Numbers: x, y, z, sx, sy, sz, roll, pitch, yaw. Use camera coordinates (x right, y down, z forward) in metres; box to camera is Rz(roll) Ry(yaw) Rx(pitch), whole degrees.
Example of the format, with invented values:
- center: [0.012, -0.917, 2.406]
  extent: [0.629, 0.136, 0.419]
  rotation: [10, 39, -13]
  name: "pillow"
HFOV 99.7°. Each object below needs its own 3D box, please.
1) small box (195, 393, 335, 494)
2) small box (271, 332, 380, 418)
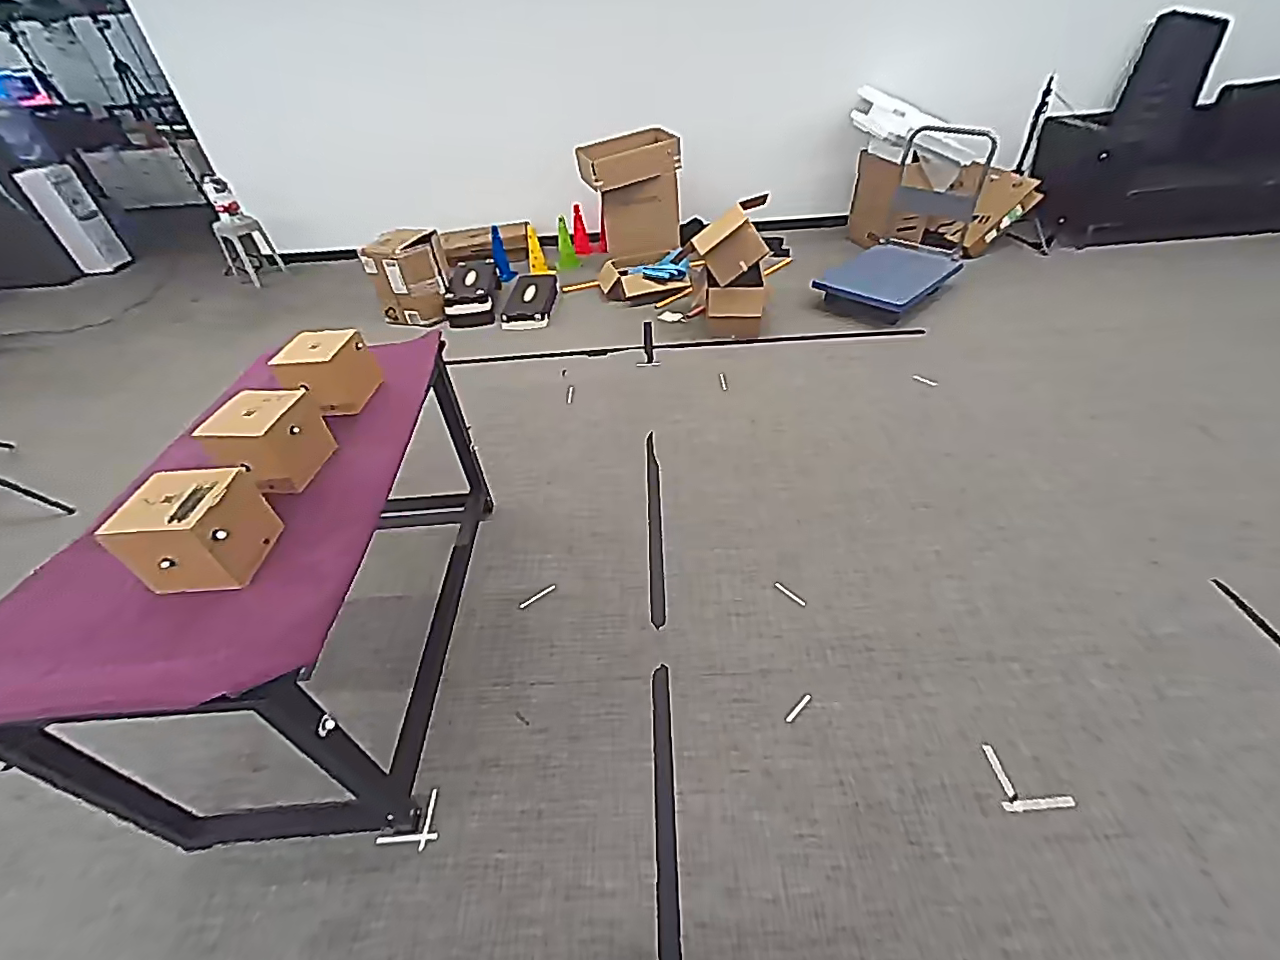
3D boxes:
- center: [-0.843, -0.082, 1.239]
  extent: [0.168, 0.176, 0.179]
  rotation: [1, 41, 6]
  name: "small box"
- center: [-0.839, -0.280, 1.465]
  extent: [0.168, 0.176, 0.179]
  rotation: [-3, 41, 4]
  name: "small box"
